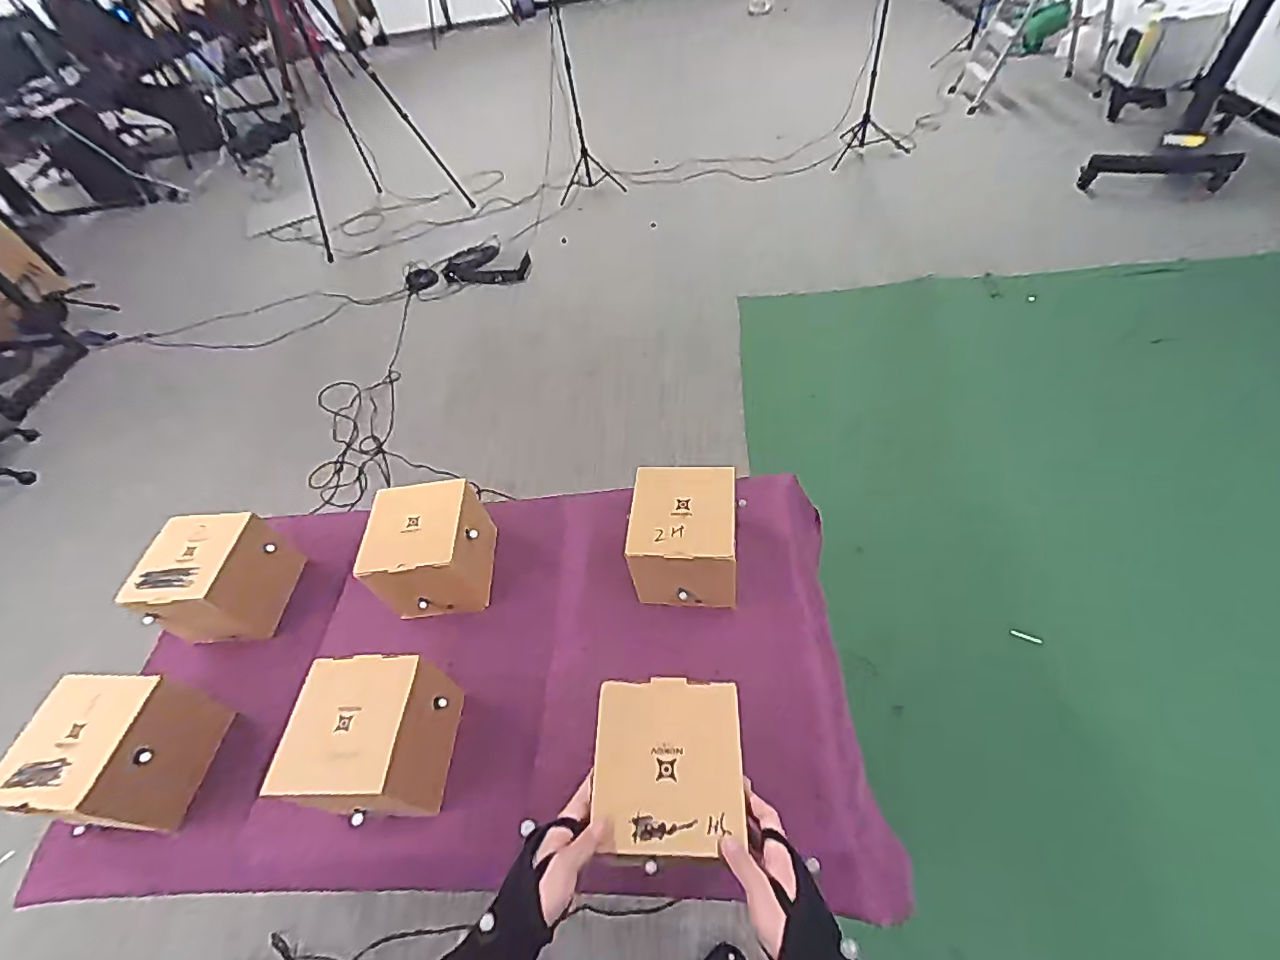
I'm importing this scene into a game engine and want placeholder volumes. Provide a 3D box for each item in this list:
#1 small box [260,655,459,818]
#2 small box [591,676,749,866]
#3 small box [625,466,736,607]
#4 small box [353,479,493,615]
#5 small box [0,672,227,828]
[{"bbox_3d":[-0.379,0.367,0.774,0.168,0.176,0.179,-4,51,7],"label":"small box"},{"bbox_3d":[0.040,0.358,0.665,0.168,0.176,0.179,-1,51,6],"label":"small box"},{"bbox_3d":[0.077,0.096,0.914,0.168,0.176,0.179,0,53,11],"label":"small box"},{"bbox_3d":[-0.372,0.122,0.967,0.168,0.176,0.179,-7,53,3],"label":"small box"},{"bbox_3d":[-0.776,0.403,0.803,0.168,0.176,0.179,-1,50,7],"label":"small box"}]
